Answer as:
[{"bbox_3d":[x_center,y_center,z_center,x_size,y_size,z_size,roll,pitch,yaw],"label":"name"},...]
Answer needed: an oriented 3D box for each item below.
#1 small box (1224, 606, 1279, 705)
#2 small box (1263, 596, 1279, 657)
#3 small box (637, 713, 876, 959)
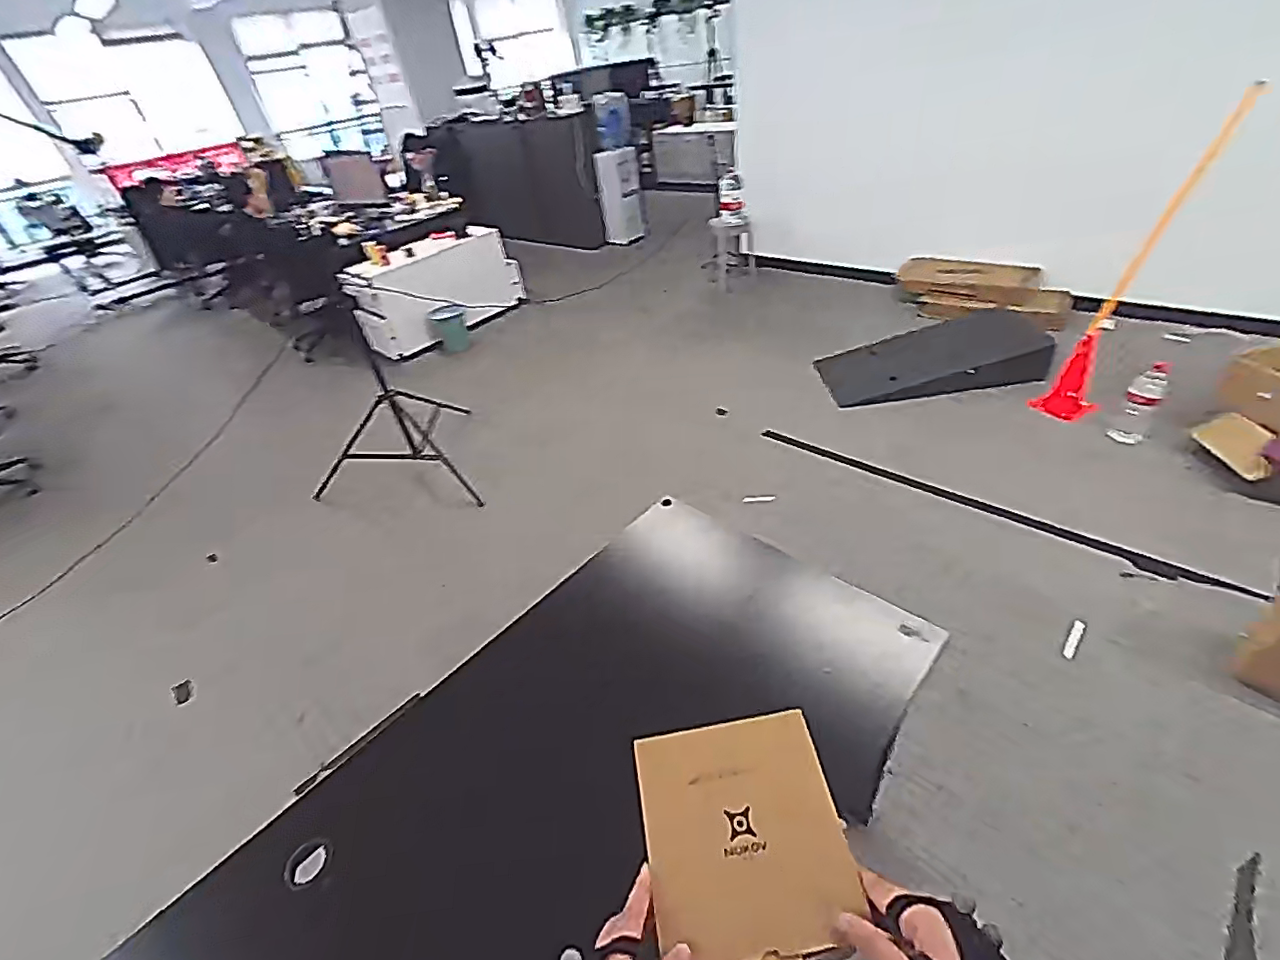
[{"bbox_3d":[1.673,0.468,1.394,0.179,0.176,0.168,27,52,36],"label":"small box"},{"bbox_3d":[1.649,0.345,1.286,0.168,0.176,0.179,26,52,36],"label":"small box"},{"bbox_3d":[0.095,0.352,0.513,0.168,0.176,0.179,-9,44,-2],"label":"small box"}]
